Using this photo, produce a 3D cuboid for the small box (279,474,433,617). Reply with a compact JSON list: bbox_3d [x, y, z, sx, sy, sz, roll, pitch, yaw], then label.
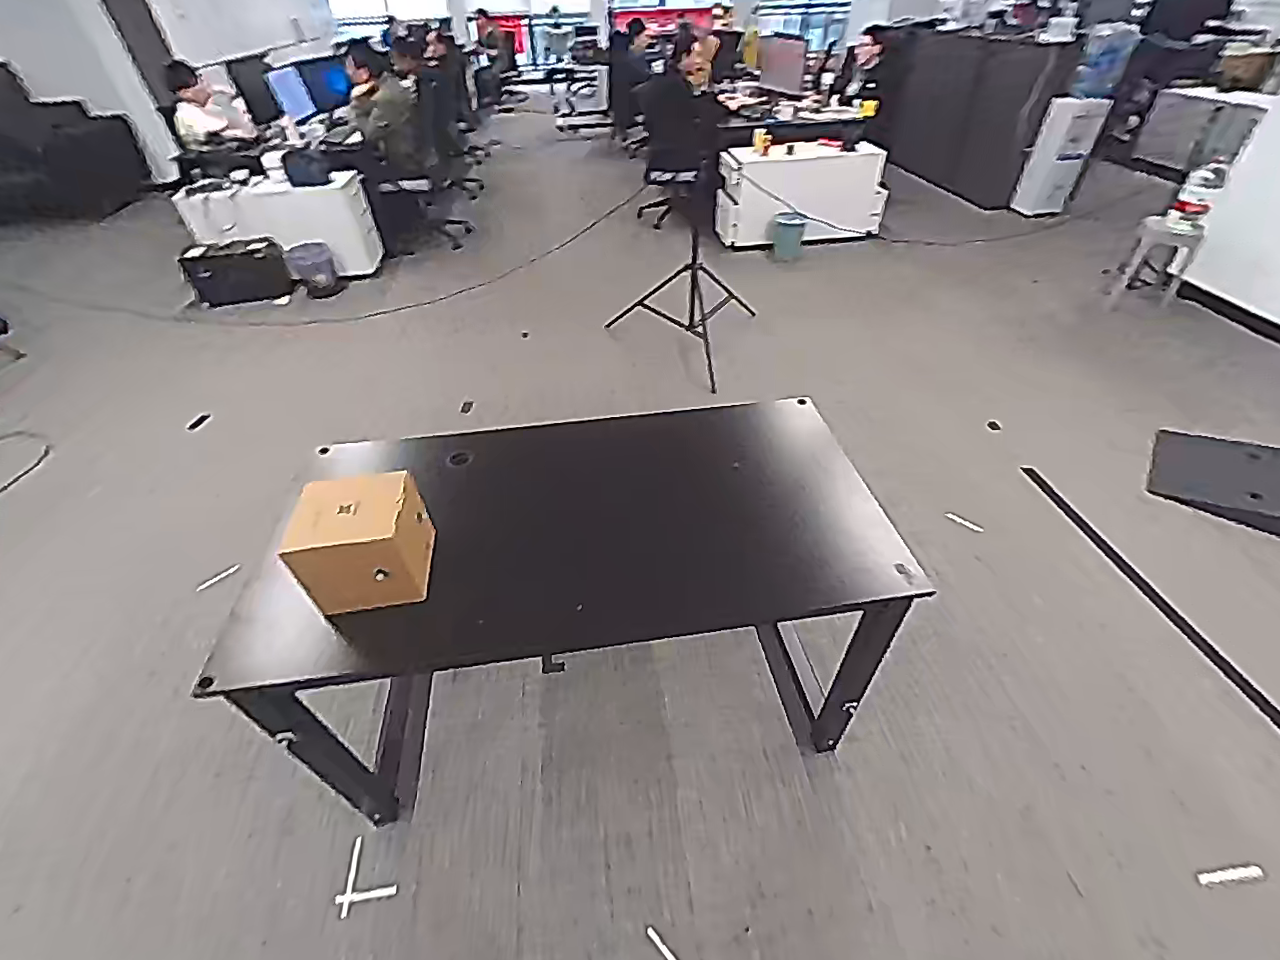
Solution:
[{"bbox_3d":[-0.476,0.114,0.941,0.179,0.176,0.168,-9,42,-6],"label":"small box"}]
